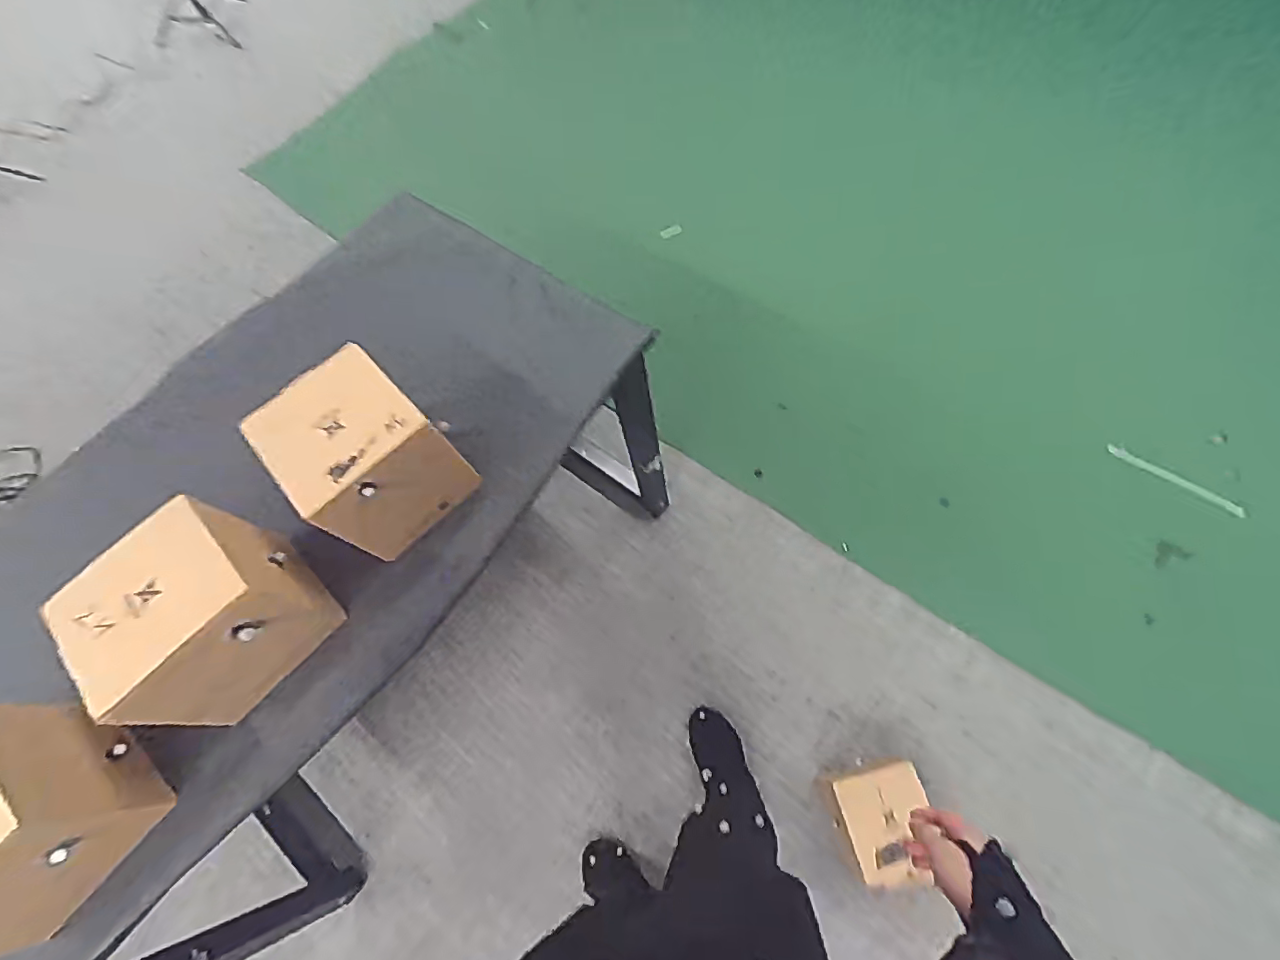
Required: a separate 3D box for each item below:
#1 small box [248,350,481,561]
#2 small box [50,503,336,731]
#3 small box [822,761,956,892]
[{"bbox_3d":[-0.340,-0.024,0.694,0.168,0.176,0.179,-43,66,-12],"label":"small box"},{"bbox_3d":[-0.496,0.163,0.631,0.168,0.176,0.179,39,77,22],"label":"small box"},{"bbox_3d":[0.487,0.683,1.086,0.168,0.176,0.179,-15,65,0],"label":"small box"}]
